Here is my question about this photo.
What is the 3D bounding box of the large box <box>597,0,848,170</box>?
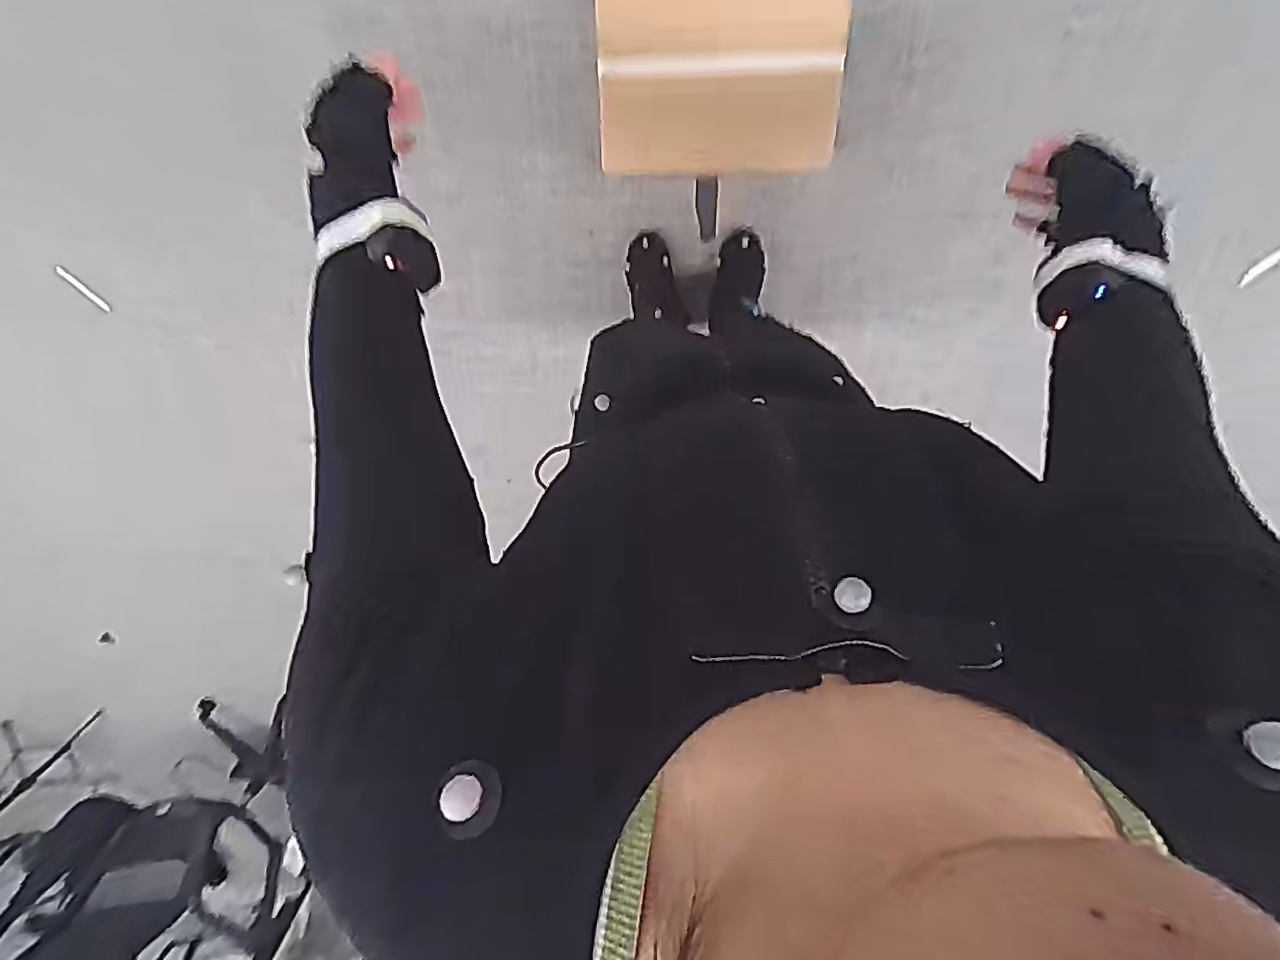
[{"bbox_3d":[0.140,-0.768,1.019,0.408,0.320,0.320,1,118,3],"label":"large box"}]
